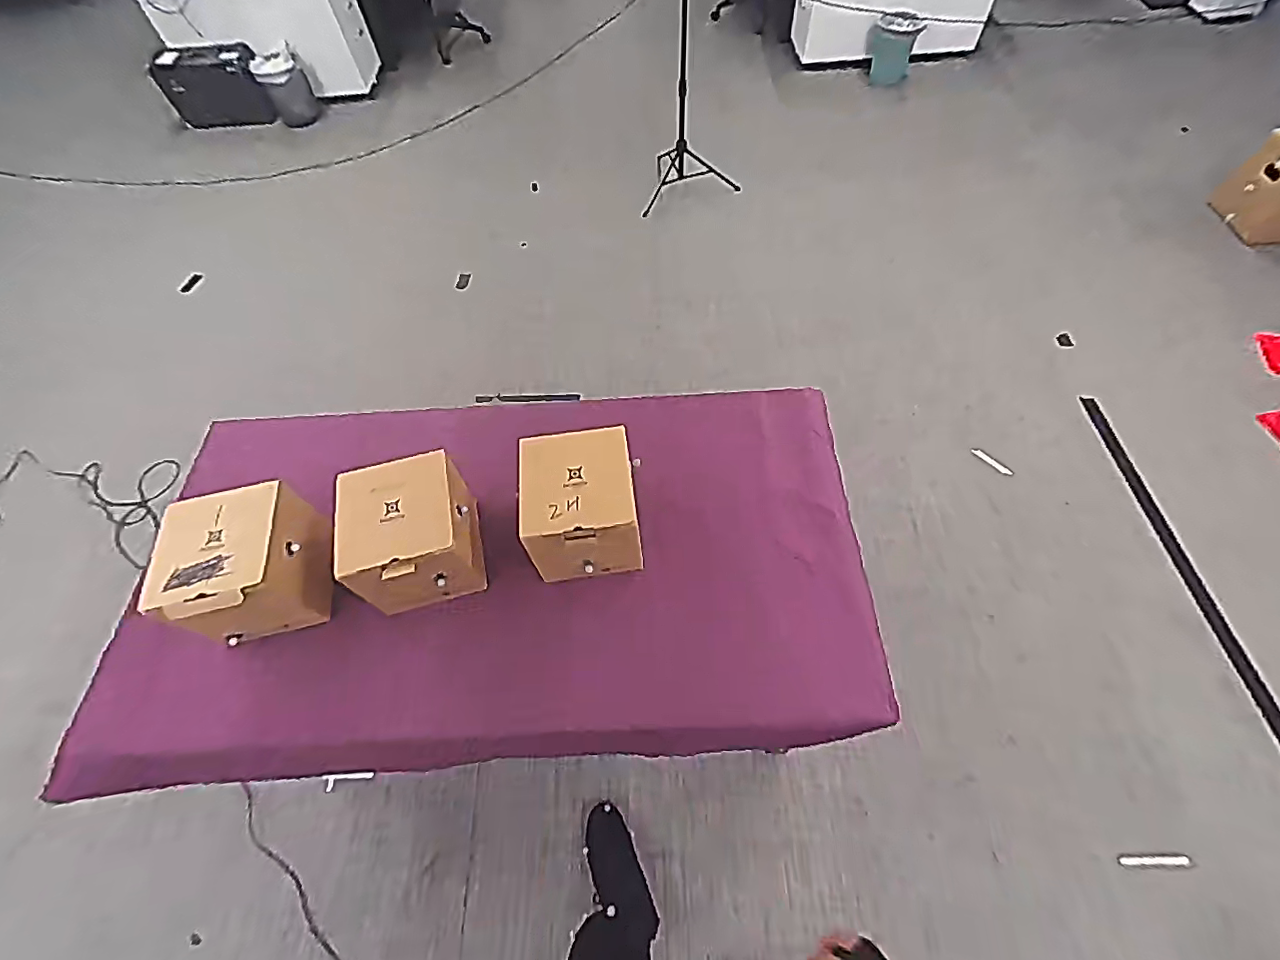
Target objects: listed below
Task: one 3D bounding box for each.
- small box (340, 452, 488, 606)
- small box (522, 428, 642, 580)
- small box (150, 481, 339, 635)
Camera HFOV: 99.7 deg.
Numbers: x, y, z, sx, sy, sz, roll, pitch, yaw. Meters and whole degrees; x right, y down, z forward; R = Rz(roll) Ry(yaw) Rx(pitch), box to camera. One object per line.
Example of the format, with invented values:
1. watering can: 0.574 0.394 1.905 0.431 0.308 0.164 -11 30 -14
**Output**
1. small box: -0.350 0.086 0.860 0.168 0.176 0.179 -14 58 -5
2. small box: -0.088 0.042 0.868 0.168 0.176 0.179 -7 59 0
3. small box: -0.597 0.130 0.846 0.168 0.176 0.179 -12 58 -5
